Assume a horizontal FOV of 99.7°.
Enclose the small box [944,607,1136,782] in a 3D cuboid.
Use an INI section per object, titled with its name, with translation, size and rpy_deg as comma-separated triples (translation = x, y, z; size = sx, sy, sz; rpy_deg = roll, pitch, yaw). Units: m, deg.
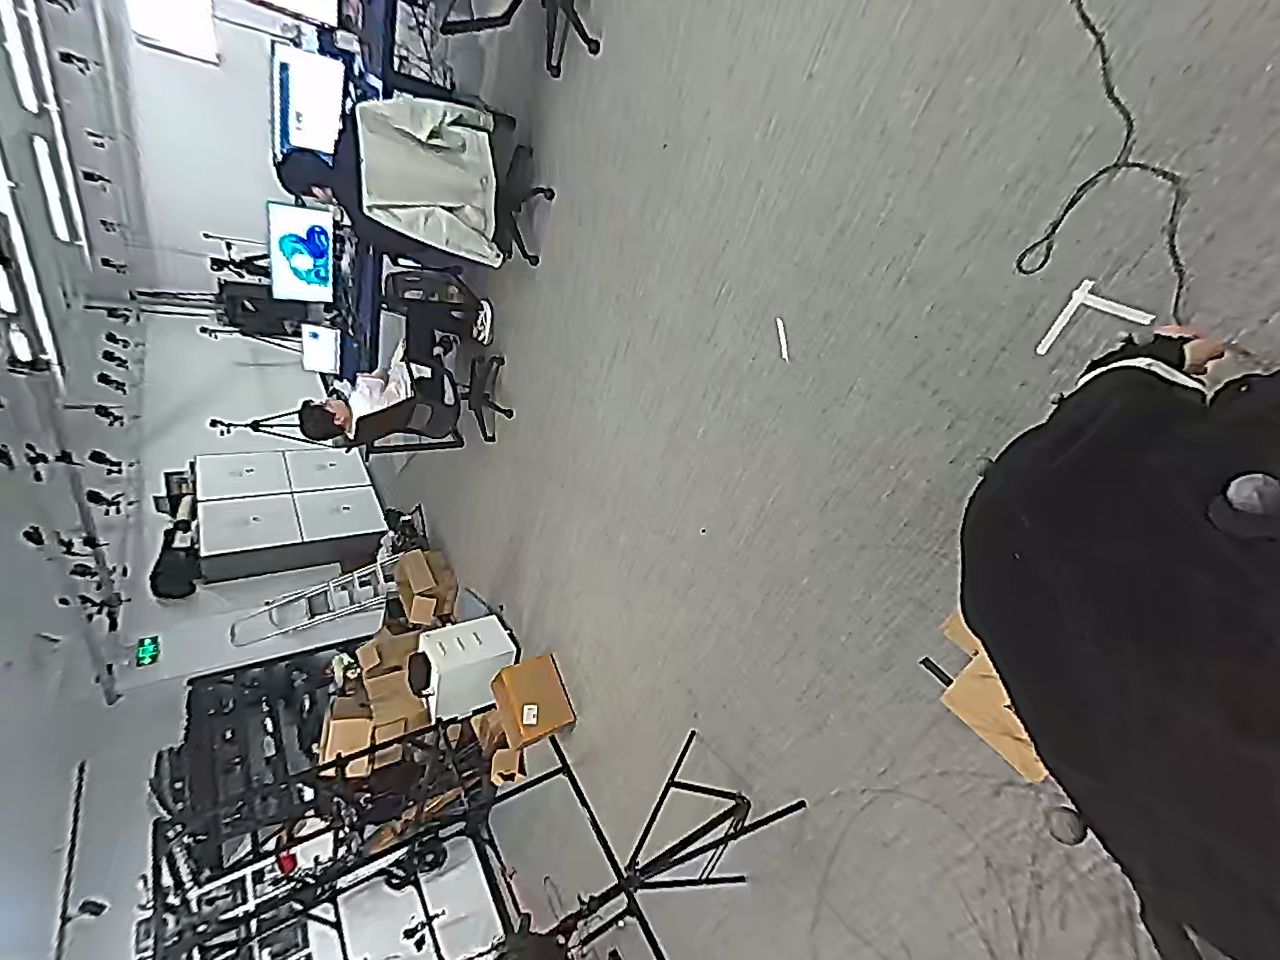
[small box]
translation = 0.642, 0.332, 0.869
size = 0.168, 0.176, 0.179
rpy_deg = 46, 130, 40
